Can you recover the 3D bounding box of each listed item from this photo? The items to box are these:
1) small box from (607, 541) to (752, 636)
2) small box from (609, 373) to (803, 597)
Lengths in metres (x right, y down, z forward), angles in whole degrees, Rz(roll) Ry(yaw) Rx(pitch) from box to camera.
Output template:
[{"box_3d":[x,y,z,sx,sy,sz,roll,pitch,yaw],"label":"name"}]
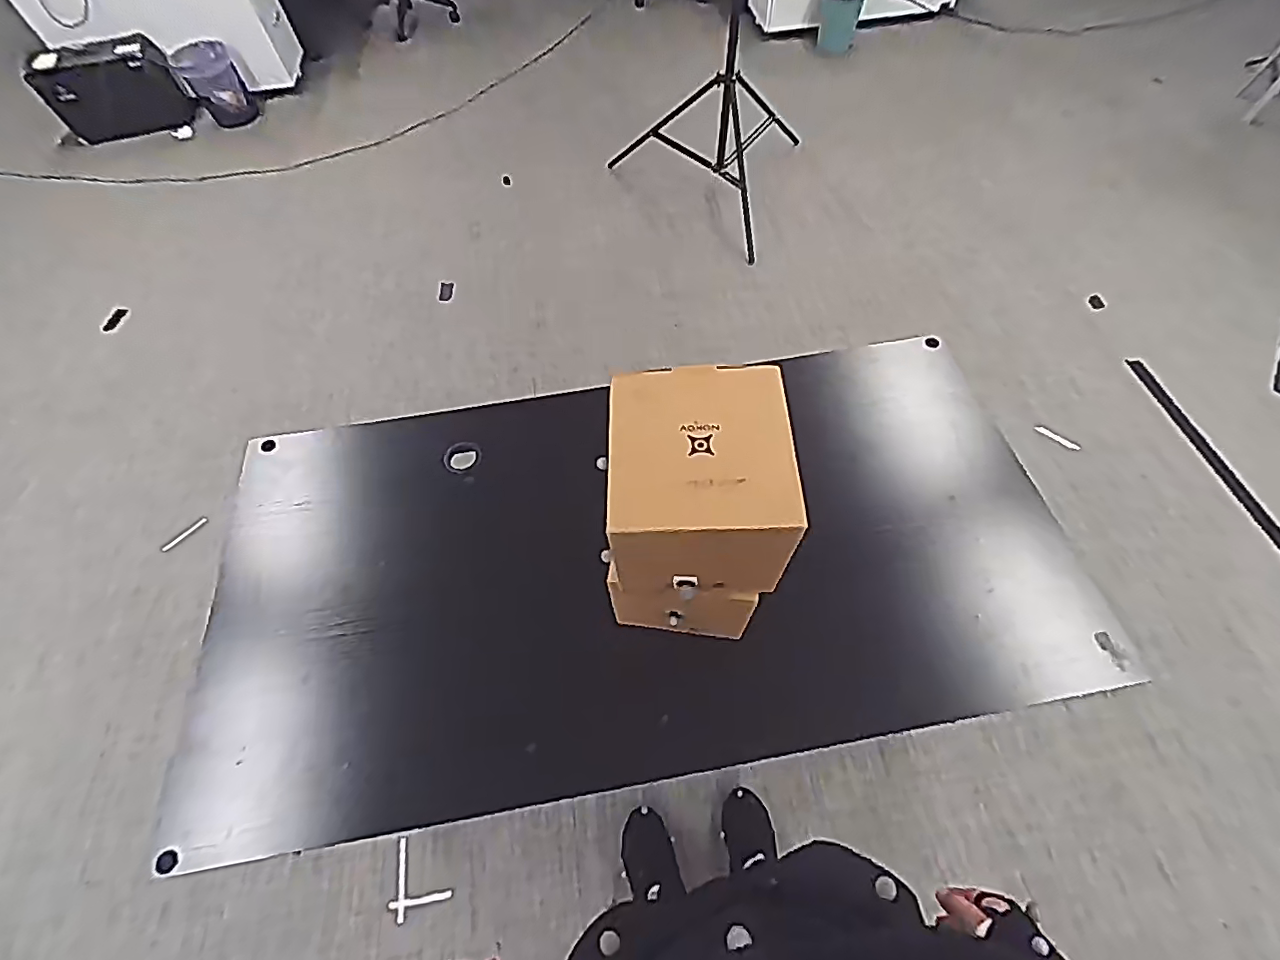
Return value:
[{"box_3d":[0.058,0.091,0.703,0.168,0.176,0.179,7,60,6],"label":"small box"},{"box_3d":[0.057,0.011,0.562,0.168,0.176,0.179,-2,61,2],"label":"small box"}]
